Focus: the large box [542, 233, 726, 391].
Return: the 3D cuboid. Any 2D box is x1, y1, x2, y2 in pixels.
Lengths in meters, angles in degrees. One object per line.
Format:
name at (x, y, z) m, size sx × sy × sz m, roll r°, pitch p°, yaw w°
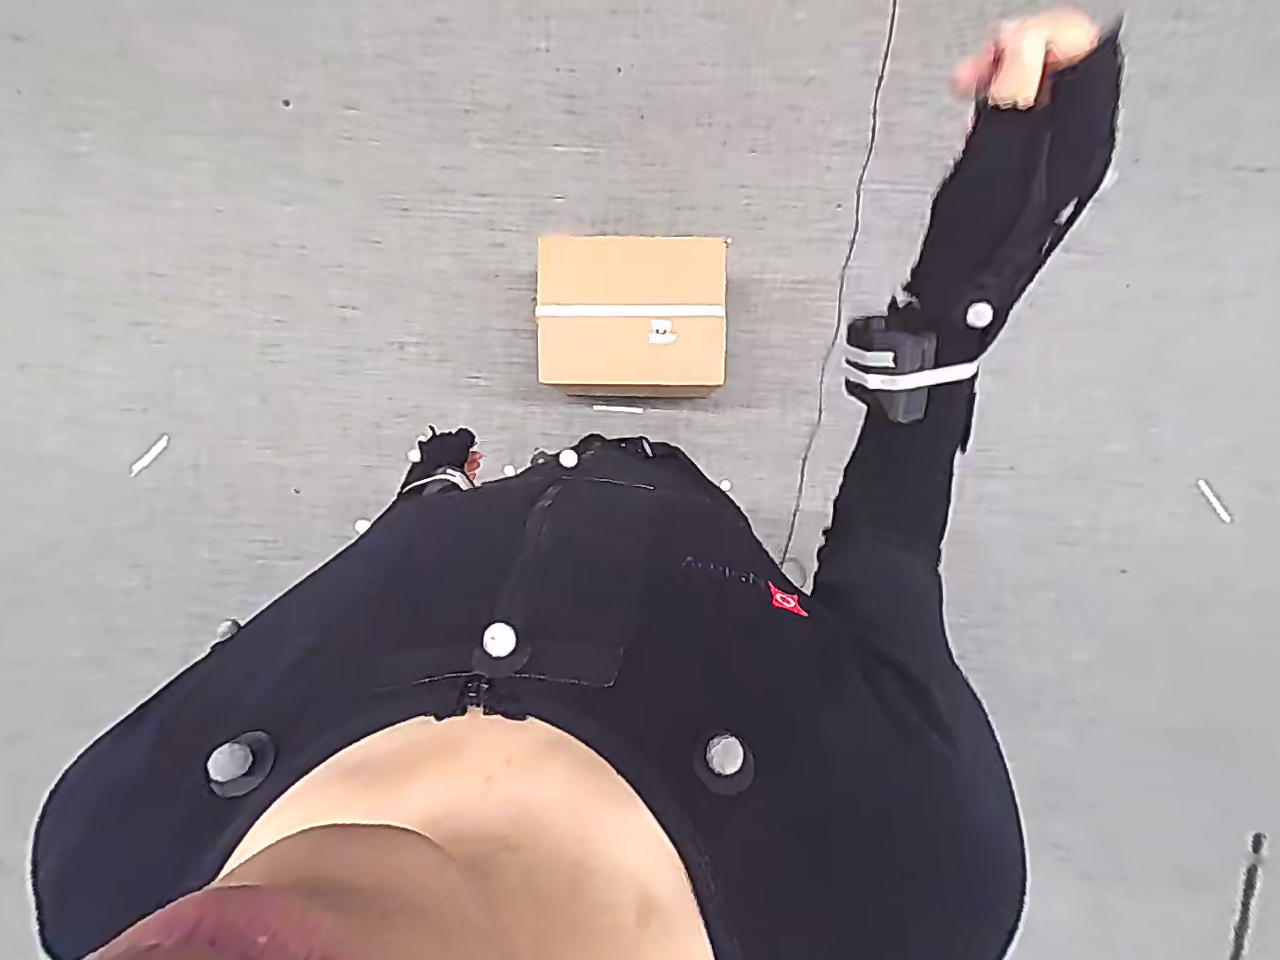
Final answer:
large box at (-0.013, -0.388, 1.320) m, size 0.408 × 0.320 × 0.320 m, roll 1°, pitch 95°, yaw 1°
